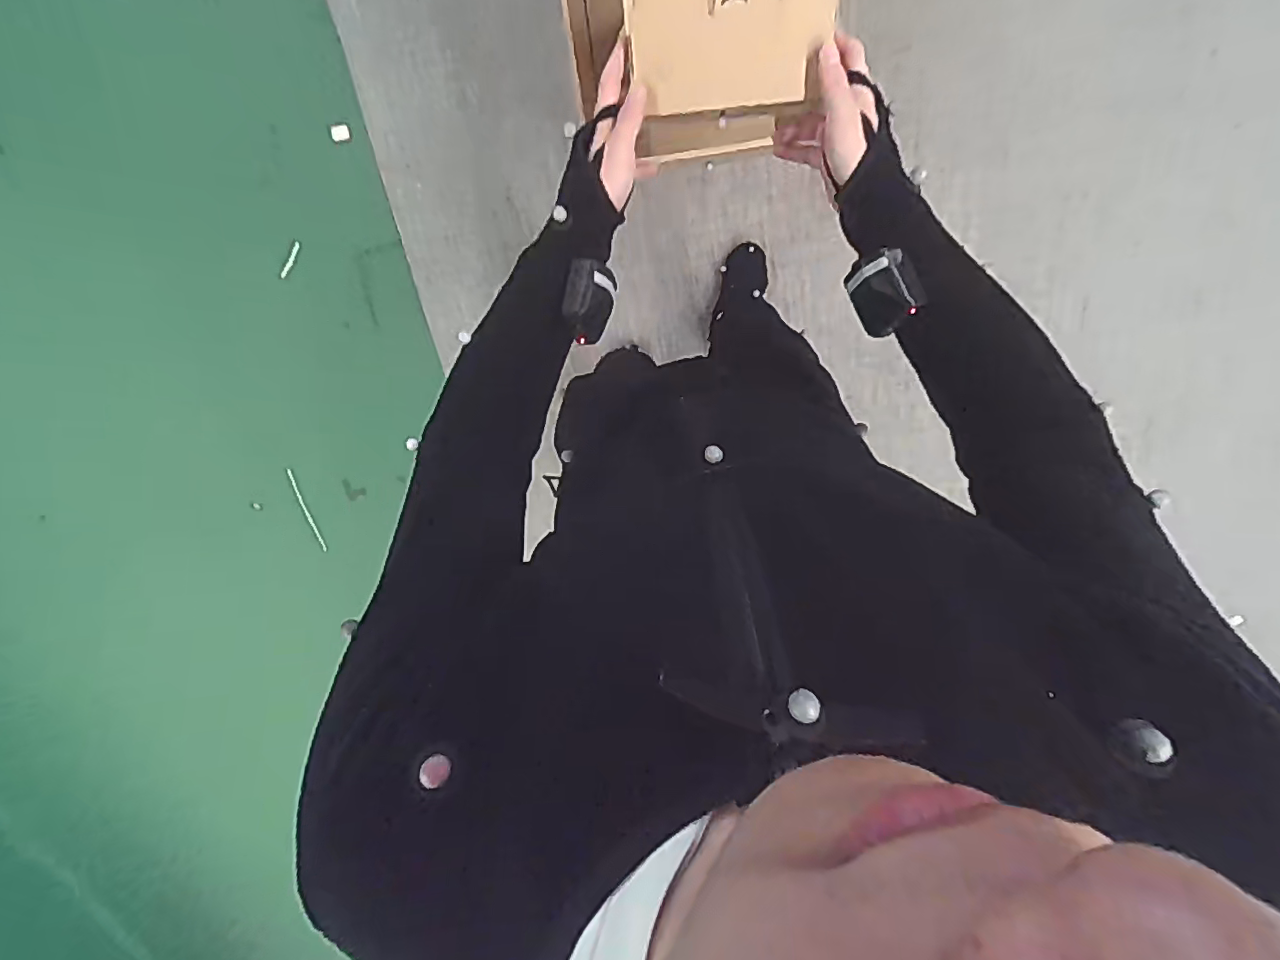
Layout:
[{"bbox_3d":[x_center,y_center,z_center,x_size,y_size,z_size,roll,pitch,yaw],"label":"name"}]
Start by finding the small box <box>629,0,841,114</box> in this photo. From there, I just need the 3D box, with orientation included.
[{"bbox_3d":[0.082,-0.449,0.503,0.179,0.176,0.168,-1,121,5],"label":"small box"}]
